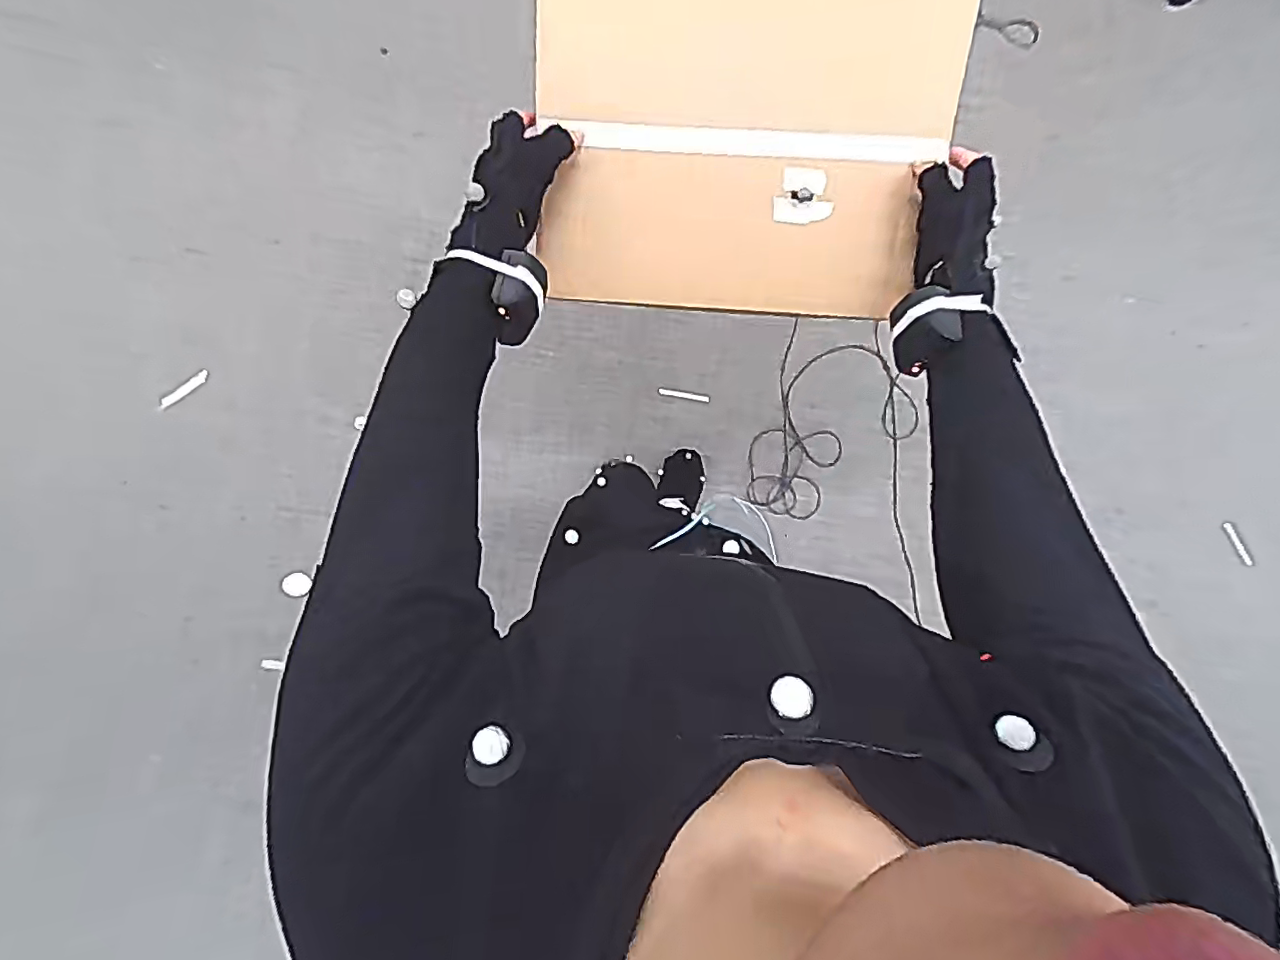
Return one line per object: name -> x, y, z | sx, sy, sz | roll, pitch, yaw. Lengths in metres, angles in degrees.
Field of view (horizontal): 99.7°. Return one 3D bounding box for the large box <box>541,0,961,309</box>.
large box -> 0.100, -0.390, 0.687 | 0.408, 0.320, 0.320 | 4, 108, 0
